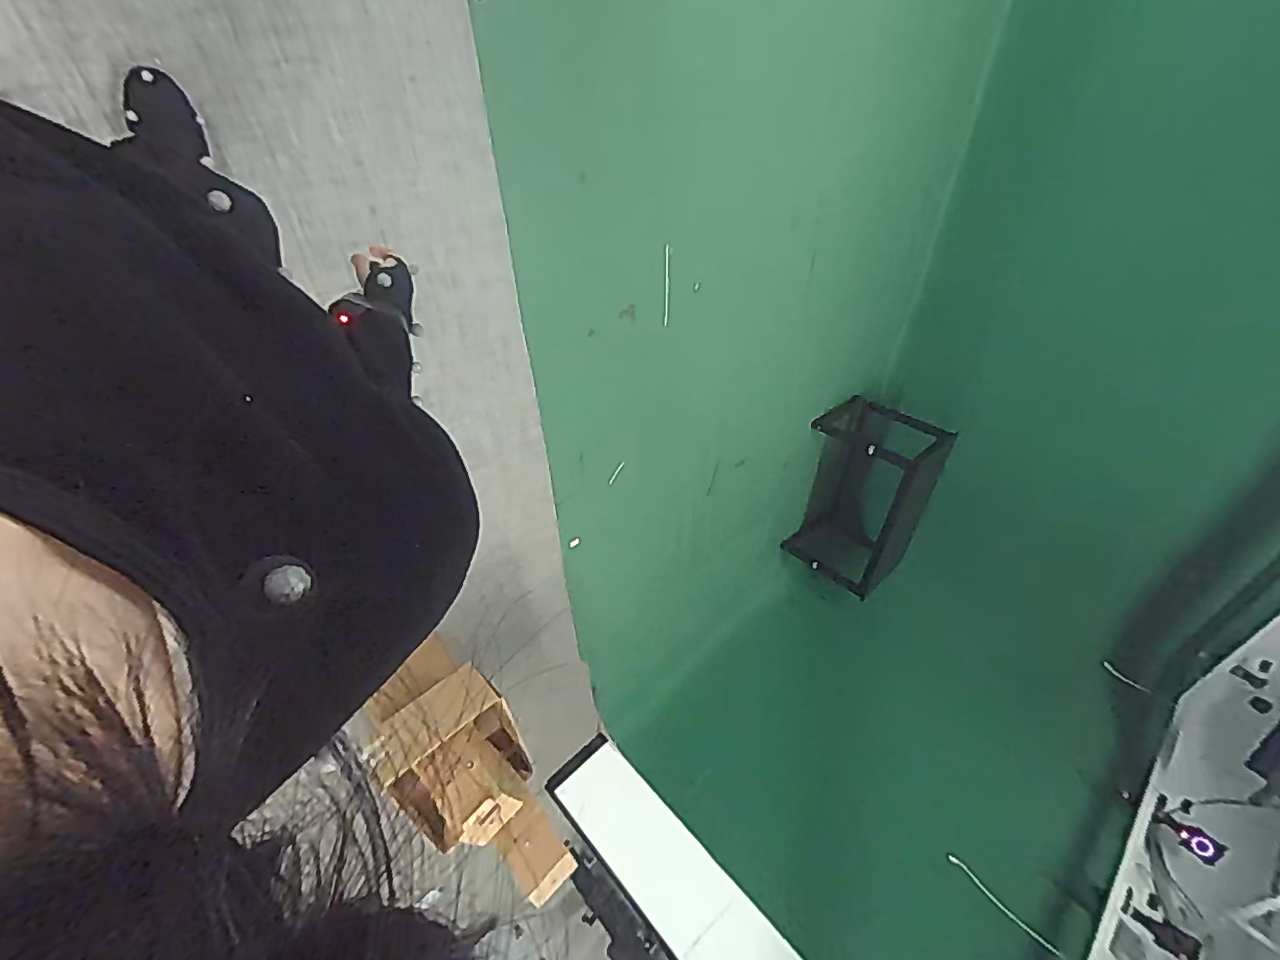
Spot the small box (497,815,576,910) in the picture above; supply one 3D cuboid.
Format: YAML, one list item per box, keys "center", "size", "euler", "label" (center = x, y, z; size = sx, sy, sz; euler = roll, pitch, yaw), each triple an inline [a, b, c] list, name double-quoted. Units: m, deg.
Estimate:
- center: [-0.333, 1.230, 1.748]
  size: [0.168, 0.176, 0.179]
  euler: [-36, 139, -29]
  label: "small box"

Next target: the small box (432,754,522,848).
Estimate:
- center: [-0.496, 0.968, 1.641]
  size: [0.168, 0.176, 0.179]
  euler: [-41, 143, -19]
  label: "small box"

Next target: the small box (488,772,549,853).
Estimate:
- center: [-0.443, 1.146, 1.839]
  size: [0.179, 0.176, 0.168]
  euler: [-37, 140, -27]
  label: "small box"

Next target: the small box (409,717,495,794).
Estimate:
- center: [-0.606, 0.896, 1.738]
  size: [0.168, 0.176, 0.179]
  euler: [-42, 142, -19]
  label: "small box"
